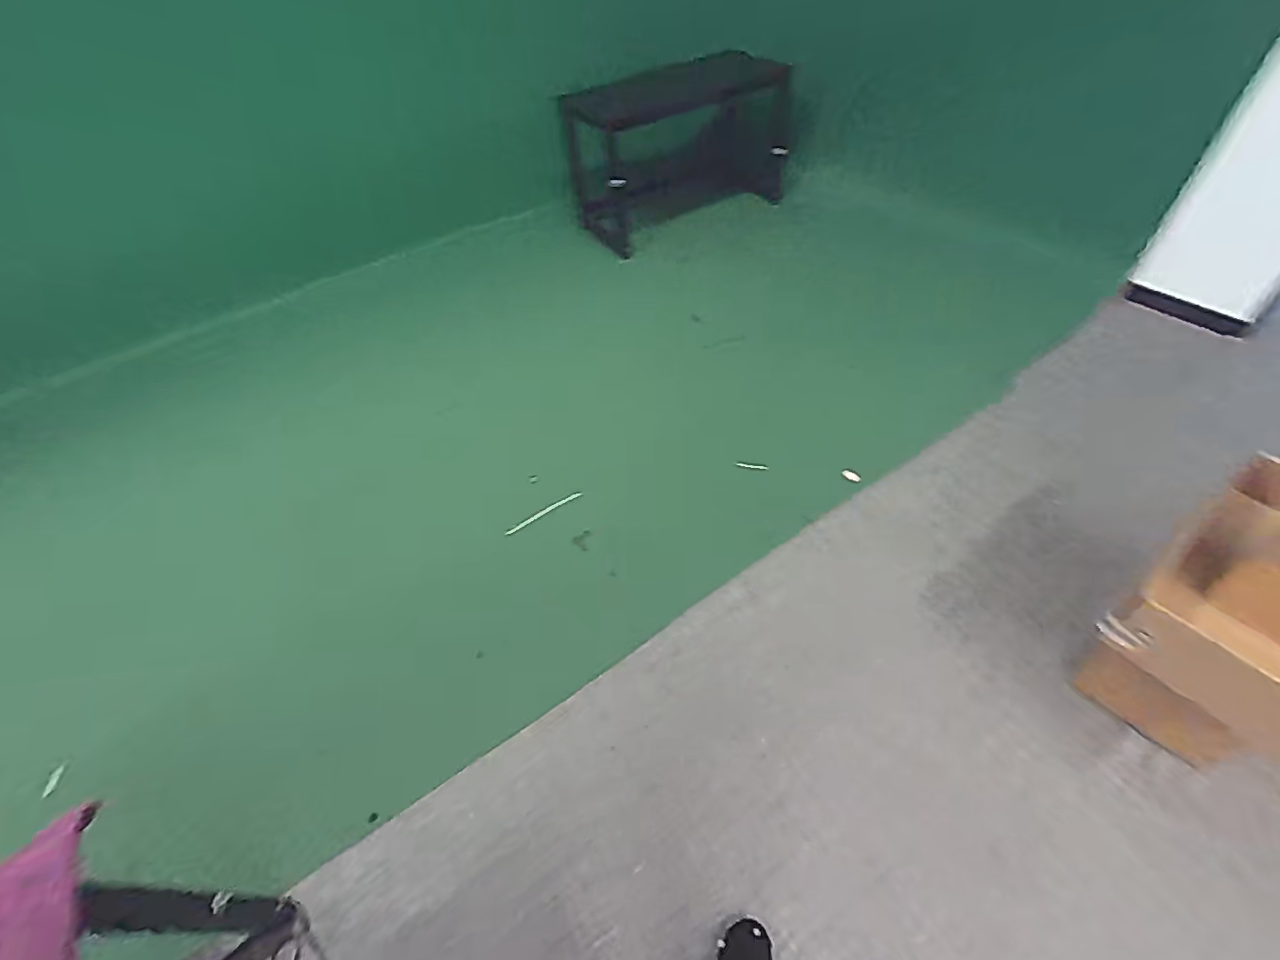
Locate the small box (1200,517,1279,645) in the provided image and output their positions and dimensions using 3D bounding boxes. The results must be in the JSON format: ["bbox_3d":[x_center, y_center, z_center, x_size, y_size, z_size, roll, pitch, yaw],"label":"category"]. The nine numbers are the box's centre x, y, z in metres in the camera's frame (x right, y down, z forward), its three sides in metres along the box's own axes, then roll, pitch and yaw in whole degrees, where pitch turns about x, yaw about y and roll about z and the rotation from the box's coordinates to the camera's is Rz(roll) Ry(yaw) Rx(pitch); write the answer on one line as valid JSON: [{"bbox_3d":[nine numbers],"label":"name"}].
[{"bbox_3d":[1.353,0.218,1.132,0.168,0.176,0.179,-32,54,-21],"label":"small box"}]
